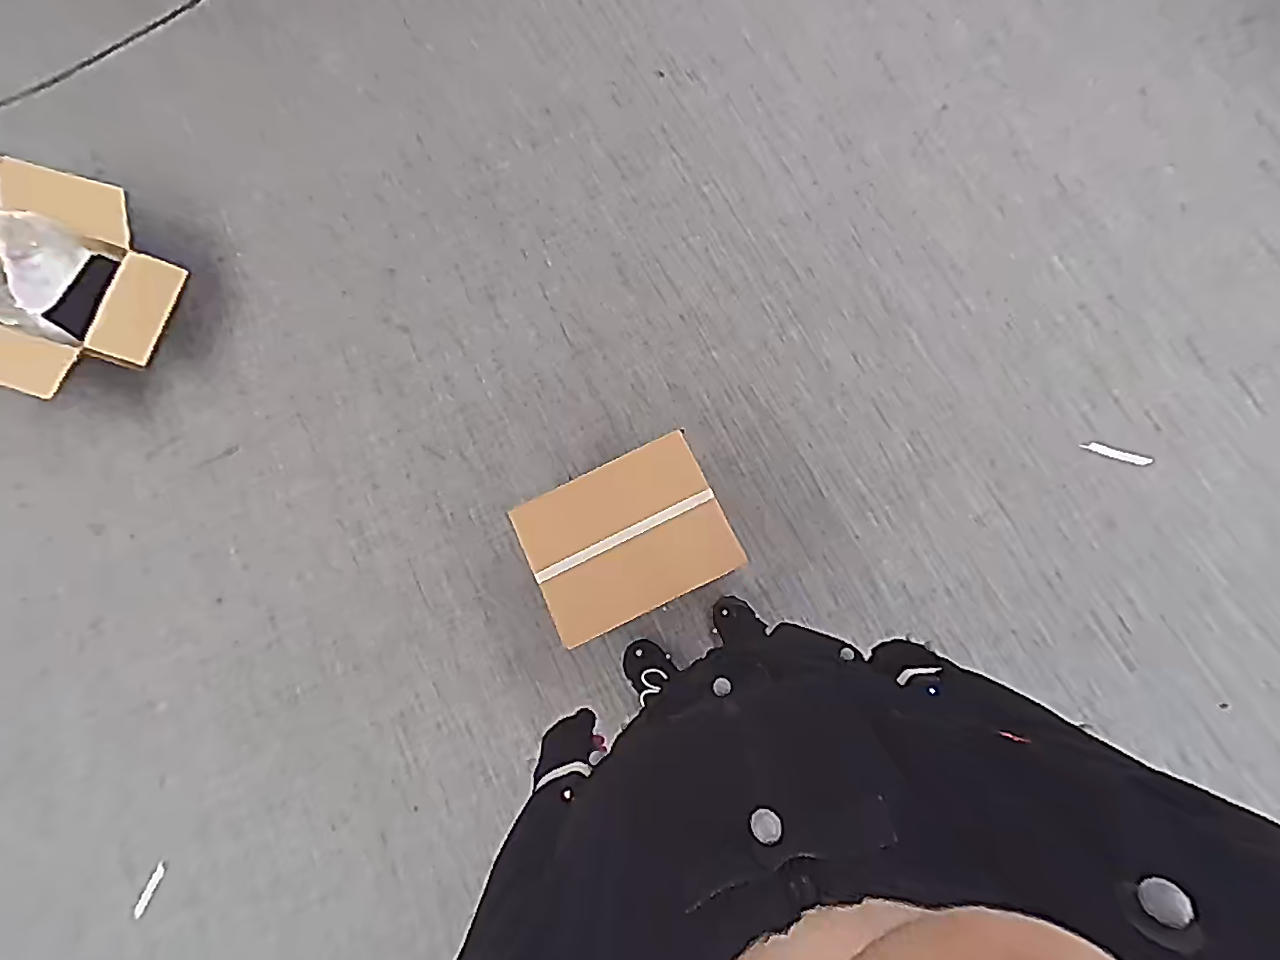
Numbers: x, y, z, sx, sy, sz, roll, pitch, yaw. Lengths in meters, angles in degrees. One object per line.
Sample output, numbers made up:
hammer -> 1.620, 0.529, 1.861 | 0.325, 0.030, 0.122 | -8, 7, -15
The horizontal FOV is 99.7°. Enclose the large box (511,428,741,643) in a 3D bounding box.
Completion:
large box -> -0.025, 0.138, 1.263 | 0.408, 0.320, 0.320 | -26, 79, -1
